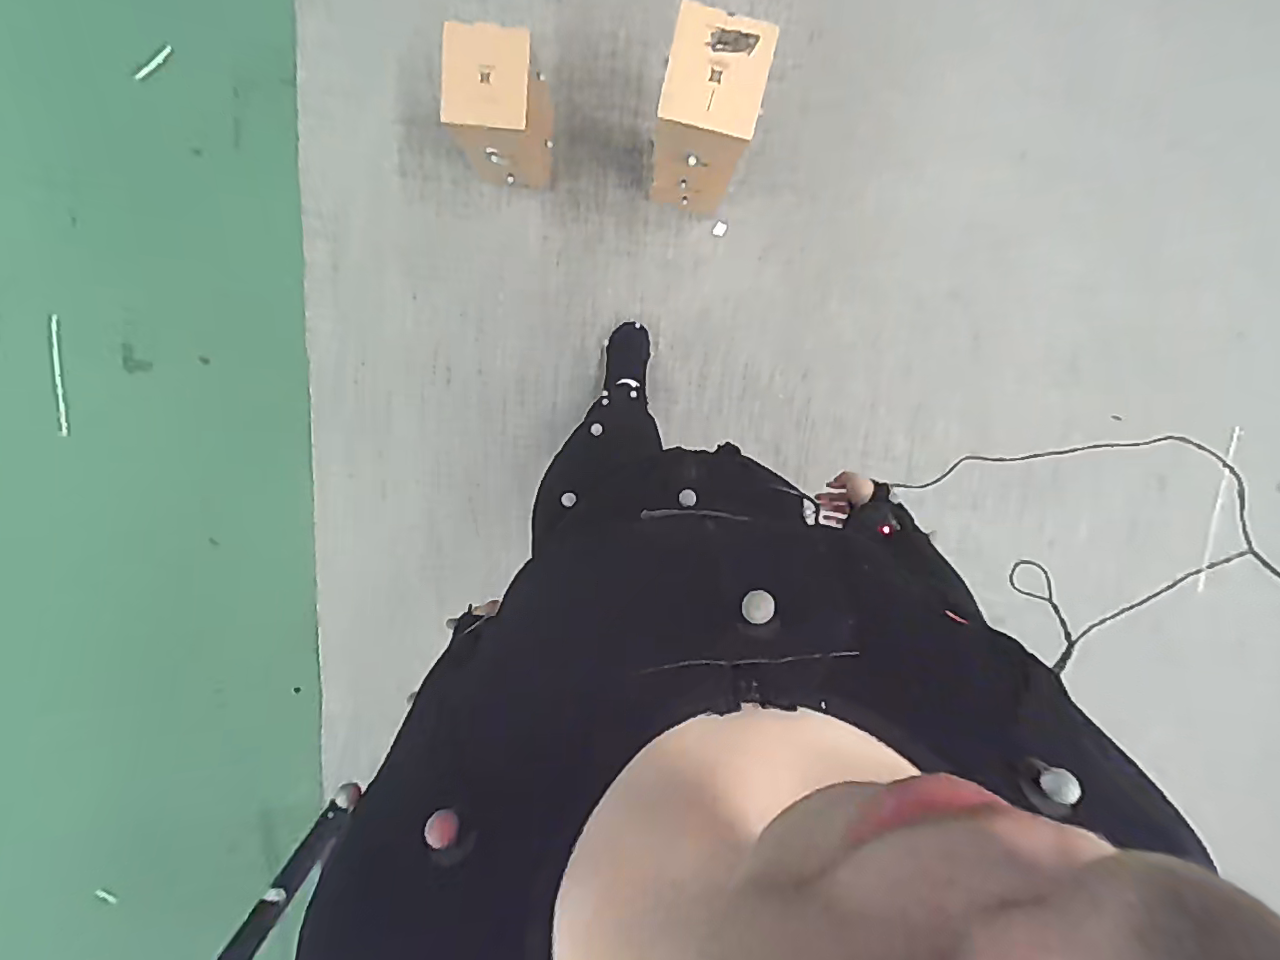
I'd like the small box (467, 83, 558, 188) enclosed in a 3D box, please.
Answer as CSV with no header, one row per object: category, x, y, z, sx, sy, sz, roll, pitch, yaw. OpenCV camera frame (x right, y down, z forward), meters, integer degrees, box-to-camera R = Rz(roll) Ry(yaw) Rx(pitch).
small box,-0.292,-0.810,1.265,0.168,0.176,0.179,8,101,-2

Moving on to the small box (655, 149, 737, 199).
small box,0.126,-0.715,1.120,0.168,0.176,0.179,12,101,-2

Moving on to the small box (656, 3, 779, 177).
small box,0.125,-0.676,0.960,0.168,0.176,0.179,13,102,-3

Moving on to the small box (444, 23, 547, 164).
small box,-0.288,-0.779,1.105,0.168,0.176,0.179,5,101,0
